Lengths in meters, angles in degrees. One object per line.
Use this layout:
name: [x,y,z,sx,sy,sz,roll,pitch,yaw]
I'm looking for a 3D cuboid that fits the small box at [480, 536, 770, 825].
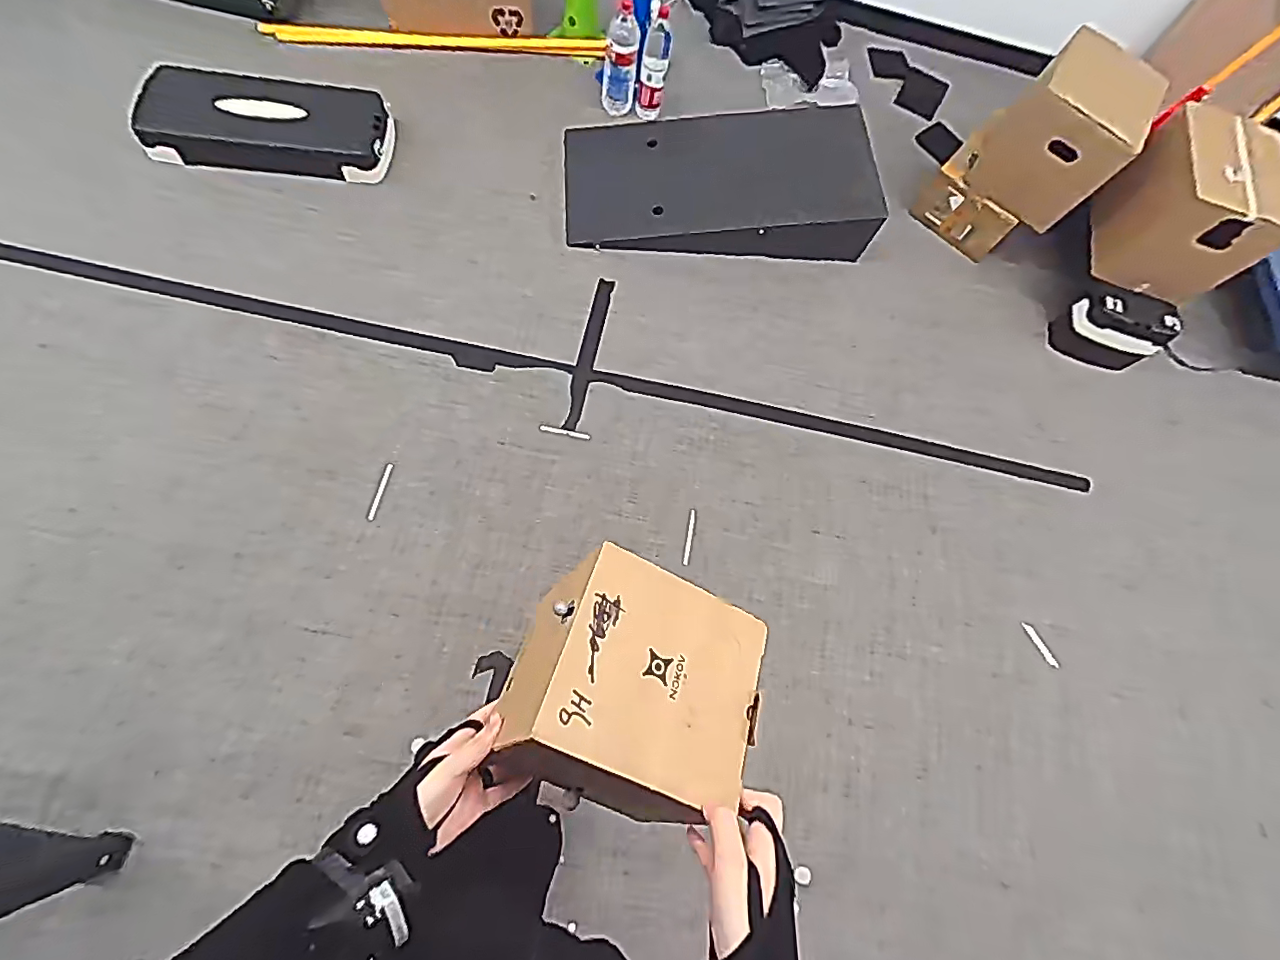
small box: [-0.015,0.182,0.483,0.179,0.176,0.168,30,52,-12]
